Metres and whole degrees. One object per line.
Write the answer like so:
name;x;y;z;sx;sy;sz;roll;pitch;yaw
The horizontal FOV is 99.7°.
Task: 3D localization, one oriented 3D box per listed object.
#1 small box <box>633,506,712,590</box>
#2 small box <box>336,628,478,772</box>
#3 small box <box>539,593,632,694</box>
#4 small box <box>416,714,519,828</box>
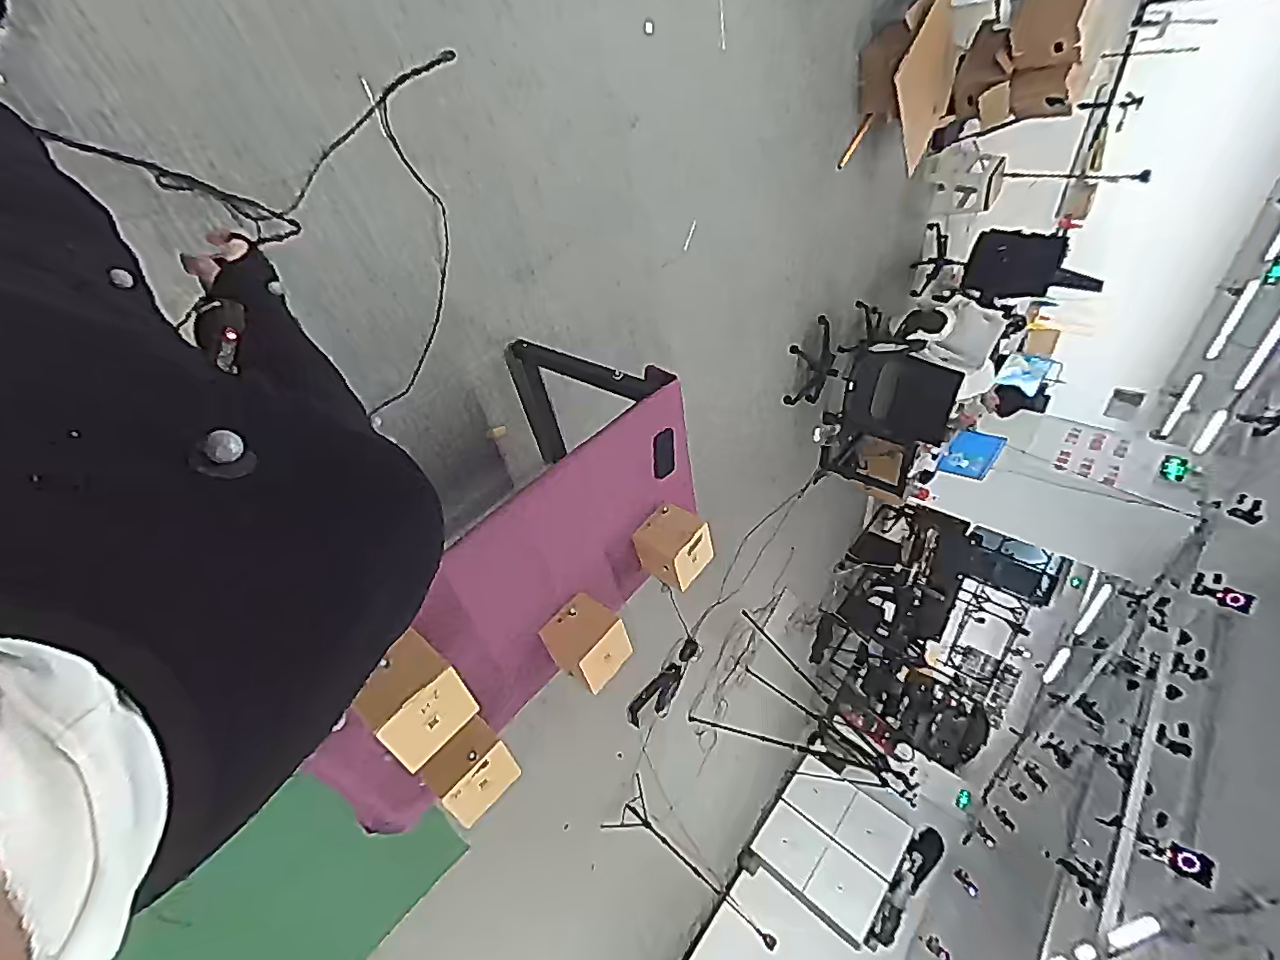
small box;0.099;0.200;1.667;0.168;0.176;0.179;-44;141;-26
small box;-0.460;0.429;1.076;0.168;0.176;0.179;-41;139;-32
small box;-0.150;0.446;1.498;0.168;0.176;0.179;-43;139;-30
small box;-0.419;0.668;1.281;0.168;0.176;0.179;-40;139;-32
